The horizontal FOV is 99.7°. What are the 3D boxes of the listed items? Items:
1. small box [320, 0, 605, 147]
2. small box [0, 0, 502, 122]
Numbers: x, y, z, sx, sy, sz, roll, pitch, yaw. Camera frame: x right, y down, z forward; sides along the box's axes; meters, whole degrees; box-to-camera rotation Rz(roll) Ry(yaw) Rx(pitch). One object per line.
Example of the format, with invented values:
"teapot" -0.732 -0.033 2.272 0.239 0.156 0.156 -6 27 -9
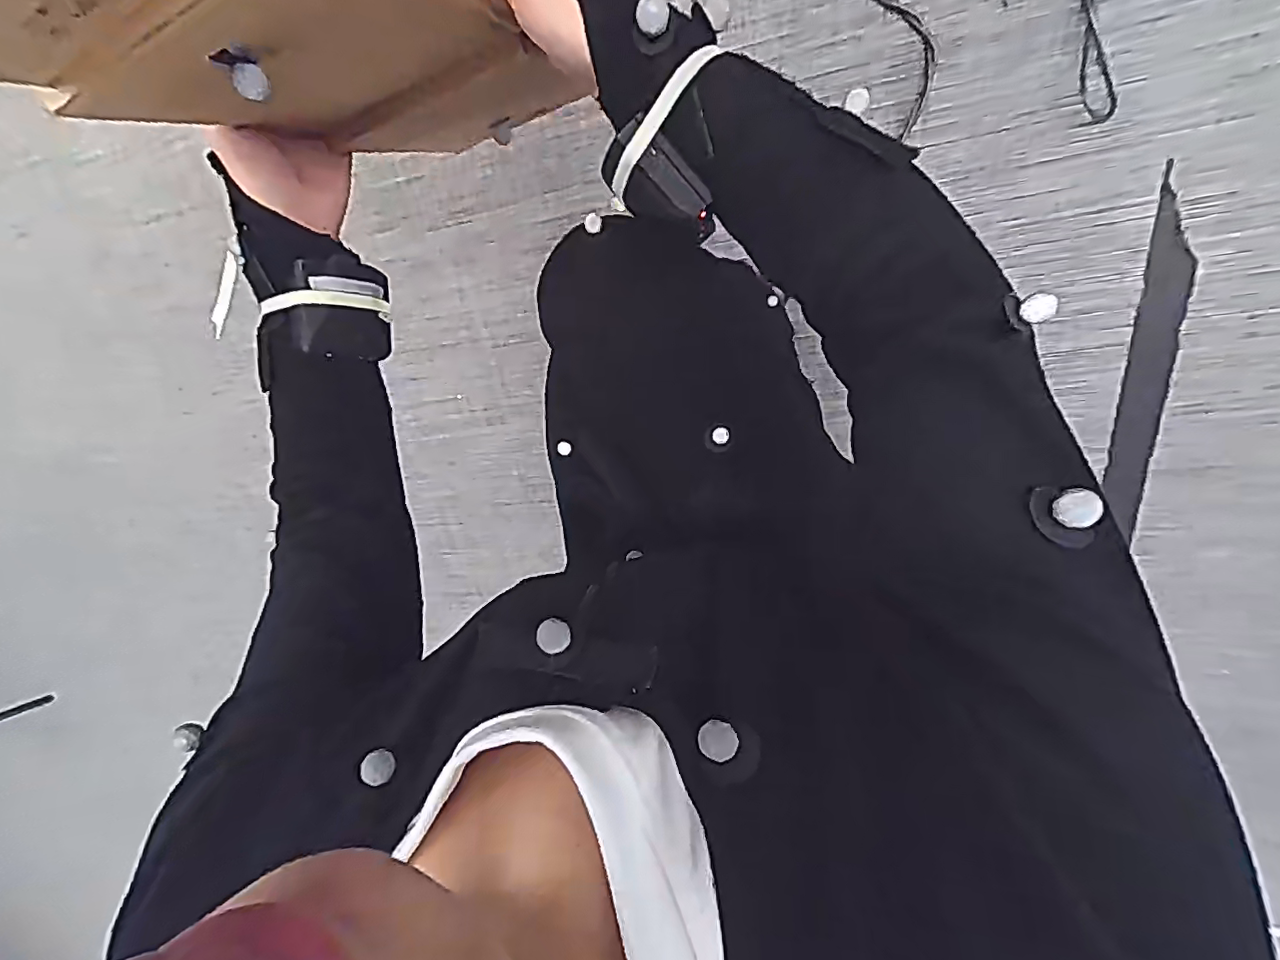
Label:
"small box" -0.143 -0.357 0.382 0.168 0.176 0.179 -8 118 22
"small box" -0.183 -0.284 0.242 0.179 0.176 0.168 -8 117 22
